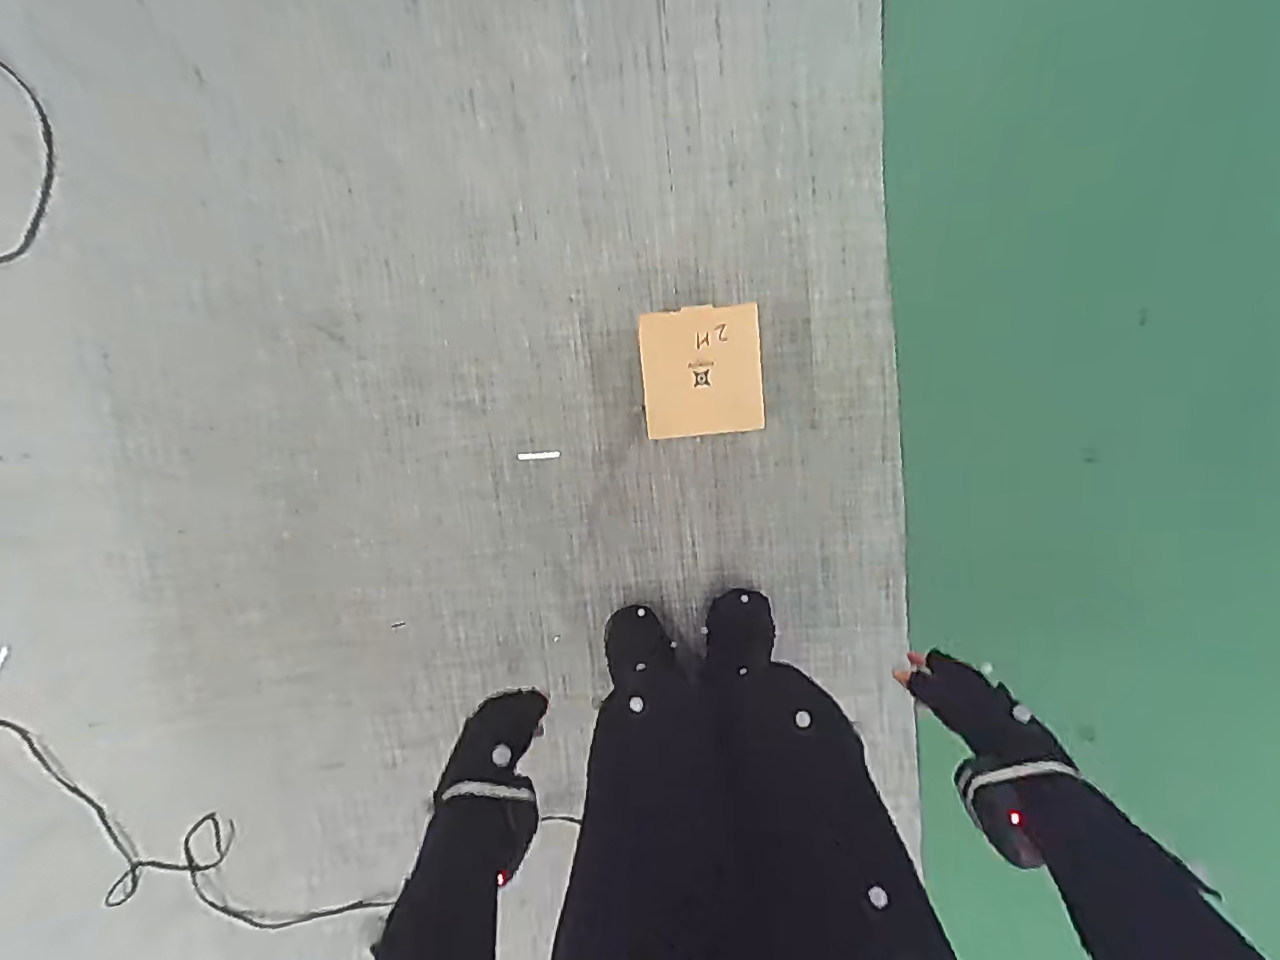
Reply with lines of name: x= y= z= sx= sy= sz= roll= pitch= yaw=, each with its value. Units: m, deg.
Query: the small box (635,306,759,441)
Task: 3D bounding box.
small box: x=0.083 y=-0.157 z=0.829 sx=0.168 sy=0.176 sz=0.179 roll=-5 pitch=96 yaw=2
